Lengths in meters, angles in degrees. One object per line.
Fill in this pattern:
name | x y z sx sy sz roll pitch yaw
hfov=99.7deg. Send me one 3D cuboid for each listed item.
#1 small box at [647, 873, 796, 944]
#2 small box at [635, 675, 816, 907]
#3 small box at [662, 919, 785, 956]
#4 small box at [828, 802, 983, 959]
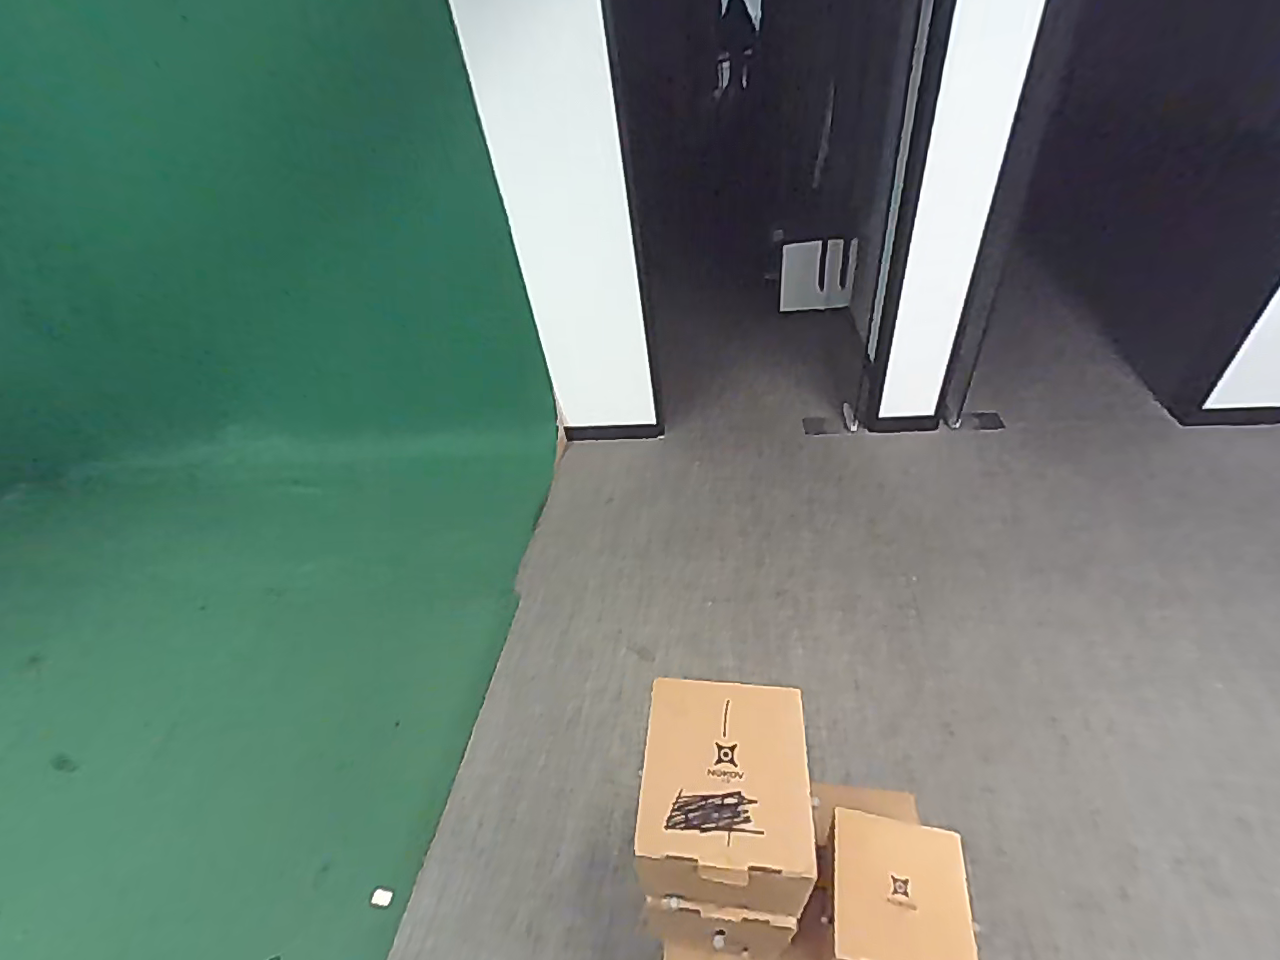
small box | 0.107 0.471 0.701 0.168 0.176 0.179 1 43 9
small box | 0.095 0.342 0.598 0.168 0.176 0.179 1 41 9
small box | 0.130 0.585 0.816 0.168 0.176 0.179 2 42 11
small box | 0.357 0.592 0.757 0.168 0.176 0.179 3 42 16
